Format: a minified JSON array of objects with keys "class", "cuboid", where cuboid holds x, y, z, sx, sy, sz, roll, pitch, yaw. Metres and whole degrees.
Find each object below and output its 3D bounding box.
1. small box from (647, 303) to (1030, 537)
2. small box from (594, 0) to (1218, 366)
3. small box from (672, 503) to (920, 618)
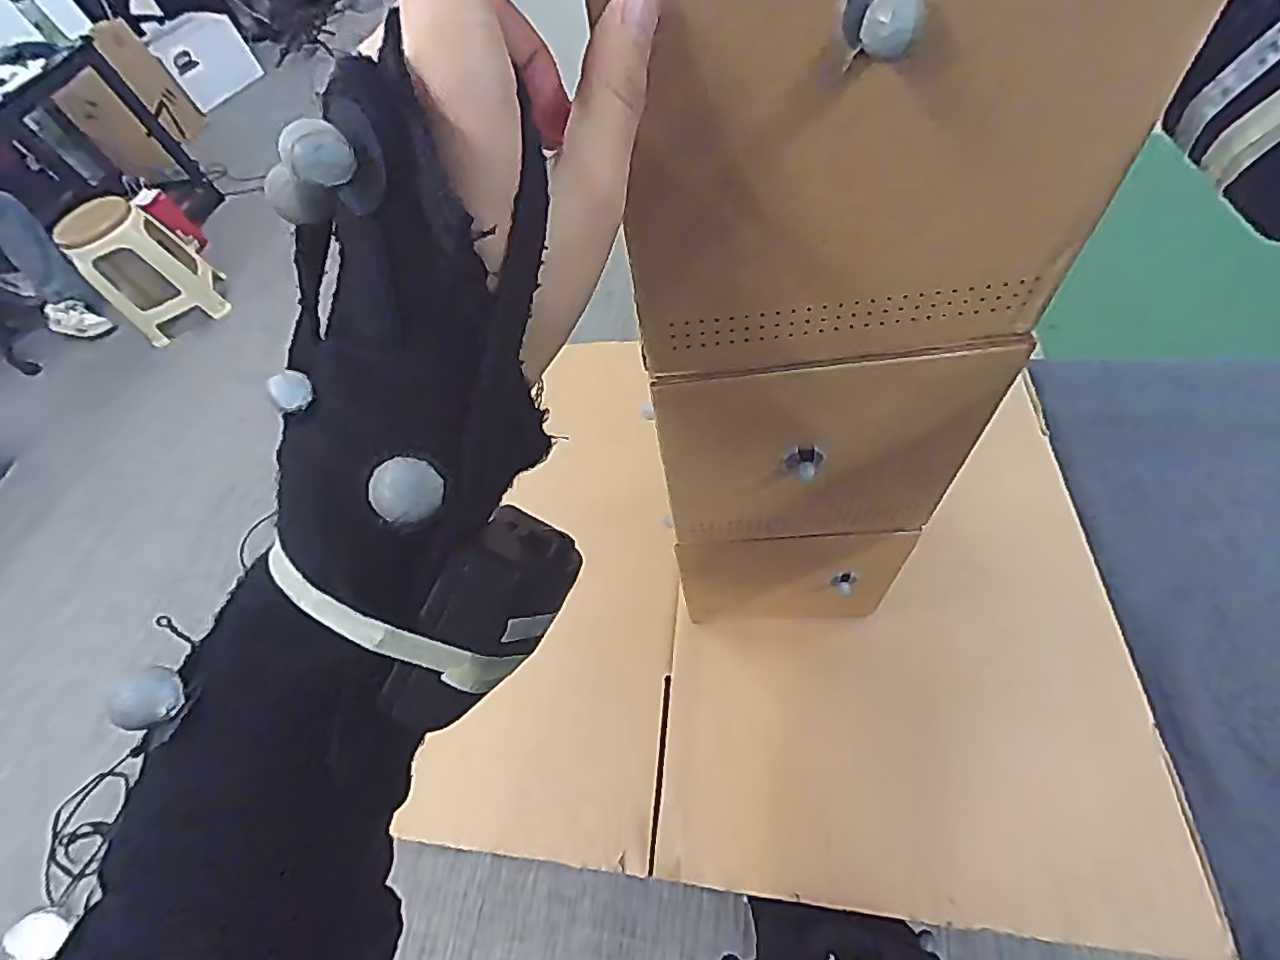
[{"class":"small box","cuboid":[0.099,-0.075,0.358,0.179,0.176,0.168,-5,55,6]},{"class":"small box","cuboid":[0.079,-0.170,0.228,0.179,0.176,0.168,-6,55,6]},{"class":"small box","cuboid":[0.120,0.018,0.492,0.179,0.176,0.168,-5,55,7]}]
